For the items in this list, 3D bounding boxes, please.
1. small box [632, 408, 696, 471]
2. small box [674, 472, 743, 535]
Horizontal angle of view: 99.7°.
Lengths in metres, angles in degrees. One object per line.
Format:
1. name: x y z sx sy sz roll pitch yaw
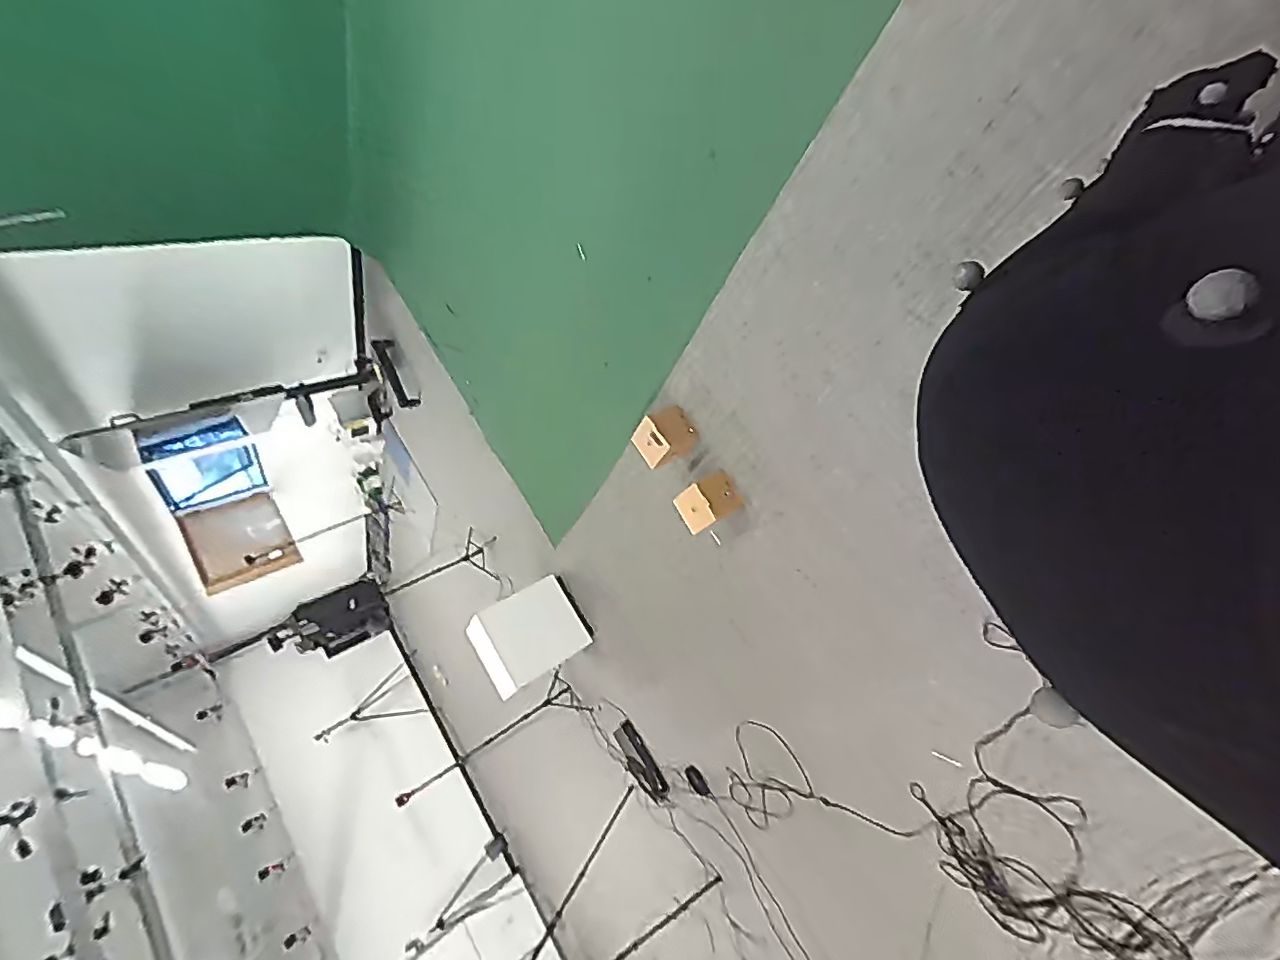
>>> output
1. small box: 0.101 -0.170 2.200 0.168 0.176 0.179 56 143 15
2. small box: 0.270 0.091 2.129 0.168 0.176 0.179 59 143 11
